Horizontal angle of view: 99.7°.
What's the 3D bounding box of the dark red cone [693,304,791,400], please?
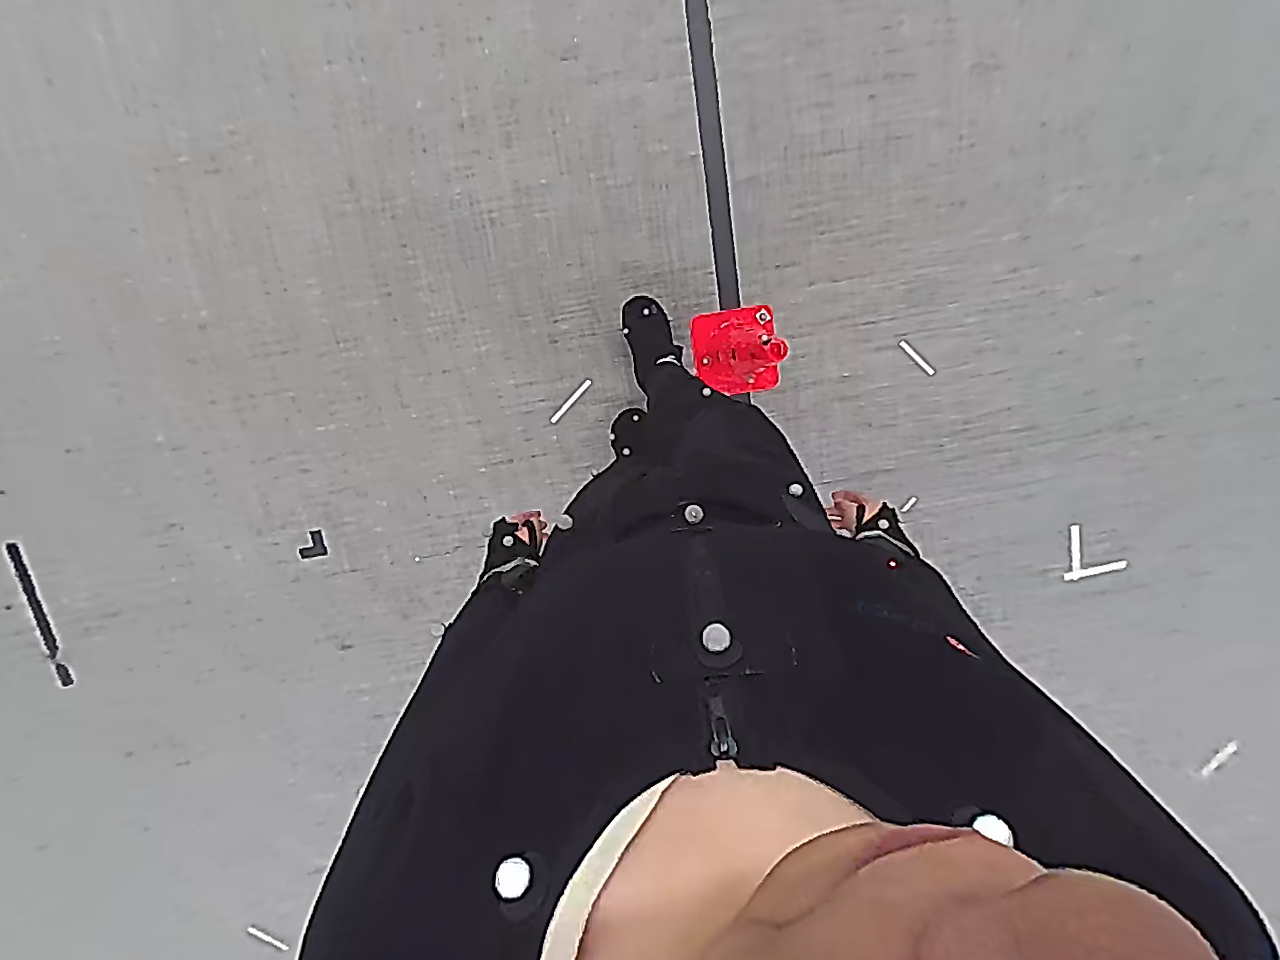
[{"bbox_3d":[0.238,-0.264,1.114,0.201,0.394,0.202,-10,103,1],"label":"dark red cone"}]
